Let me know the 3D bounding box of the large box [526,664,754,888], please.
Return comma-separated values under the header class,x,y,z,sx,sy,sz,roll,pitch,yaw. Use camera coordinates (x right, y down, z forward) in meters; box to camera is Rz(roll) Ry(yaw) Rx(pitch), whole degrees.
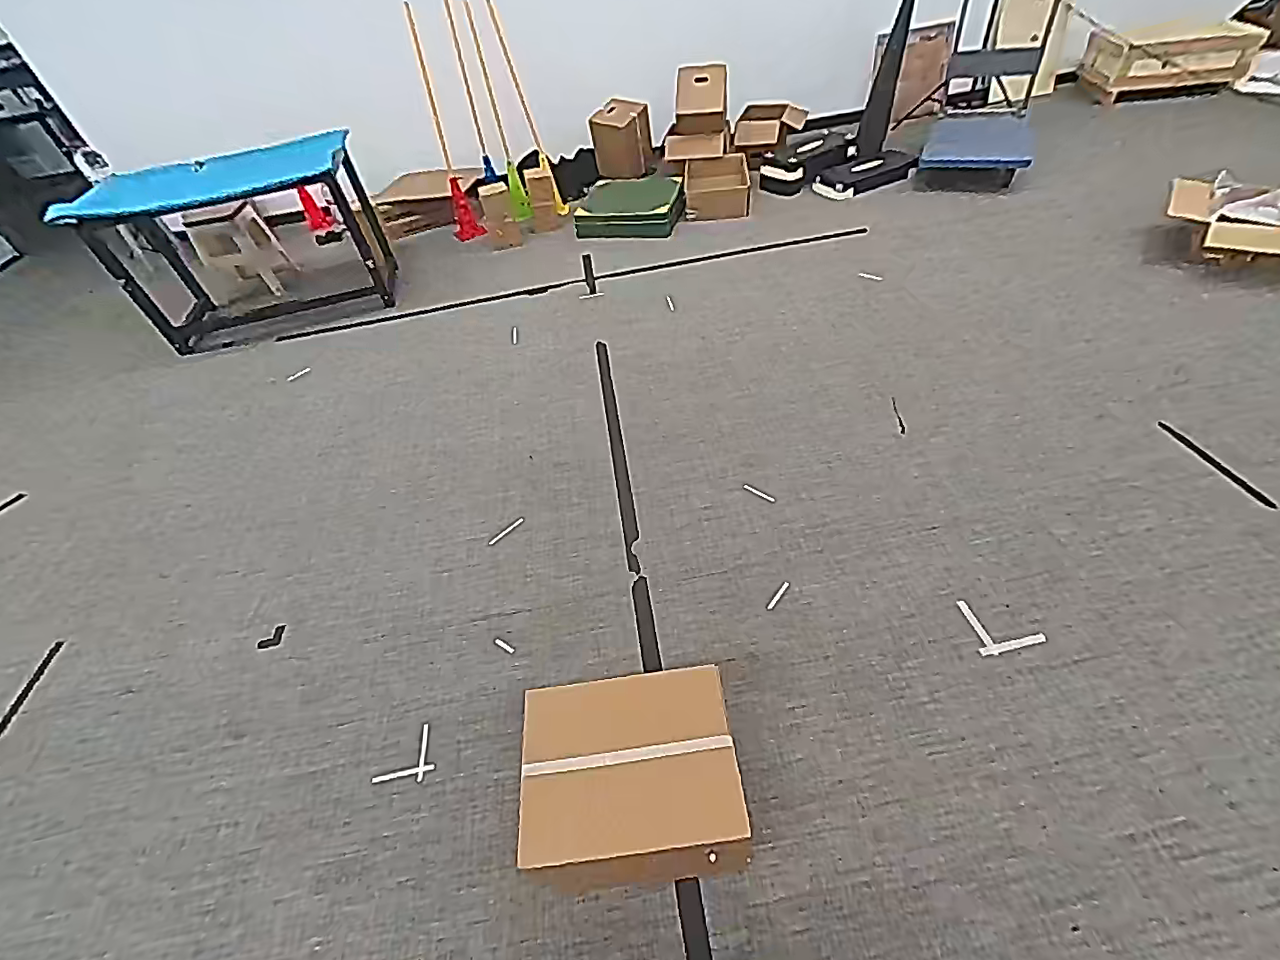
class,x,y,z,sx,sy,sz,roll,pitch,yaw
large box,0.002,0.624,1.132,0.408,0.320,0.320,-9,46,1
